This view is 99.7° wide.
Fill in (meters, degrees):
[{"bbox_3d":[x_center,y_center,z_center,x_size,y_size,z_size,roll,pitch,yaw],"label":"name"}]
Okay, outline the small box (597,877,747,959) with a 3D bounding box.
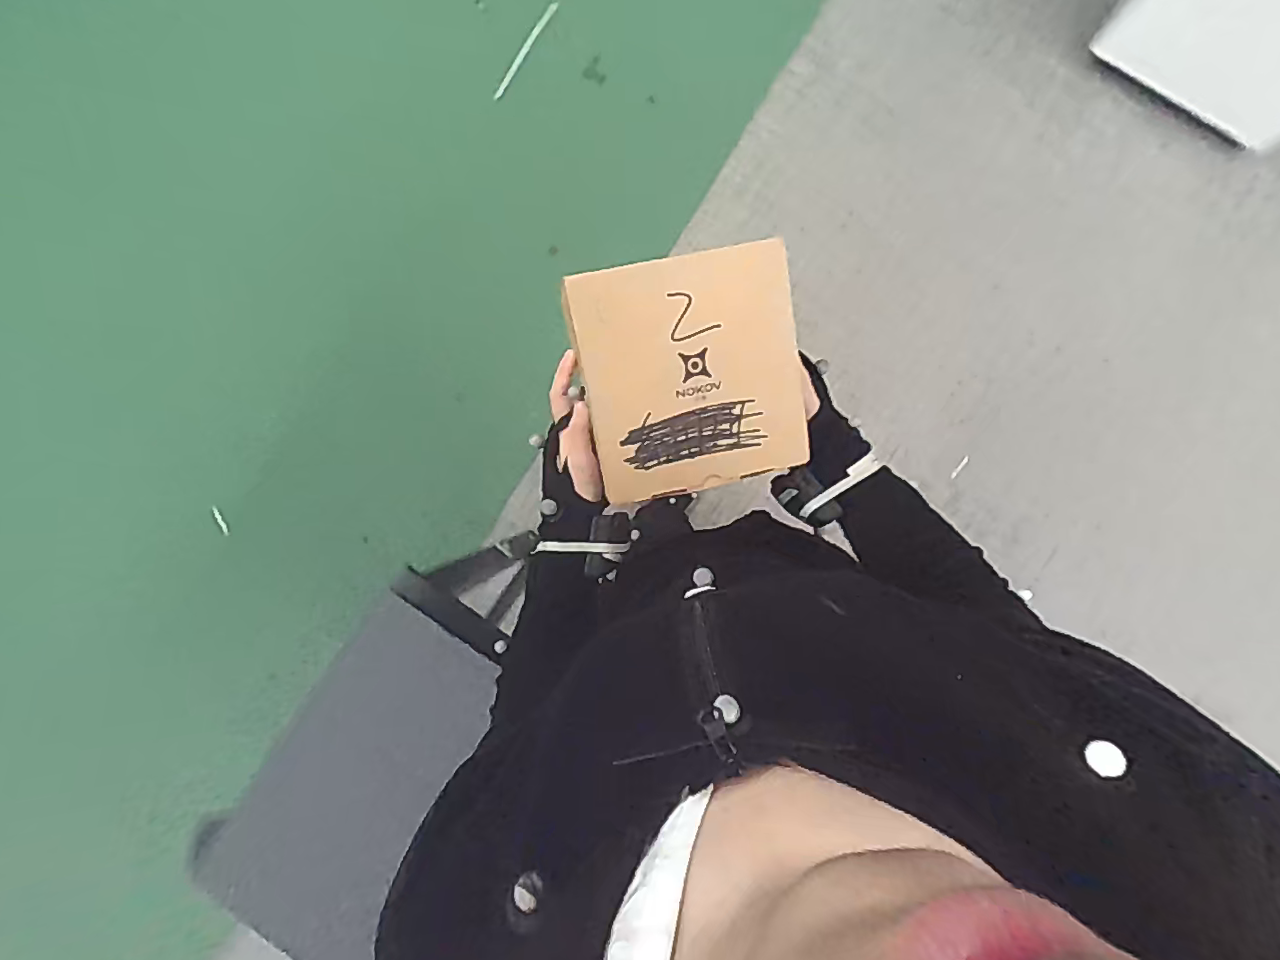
[{"bbox_3d":[0.037,0.670,0.683,0.168,0.176,0.179,36,92,2],"label":"small box"}]
